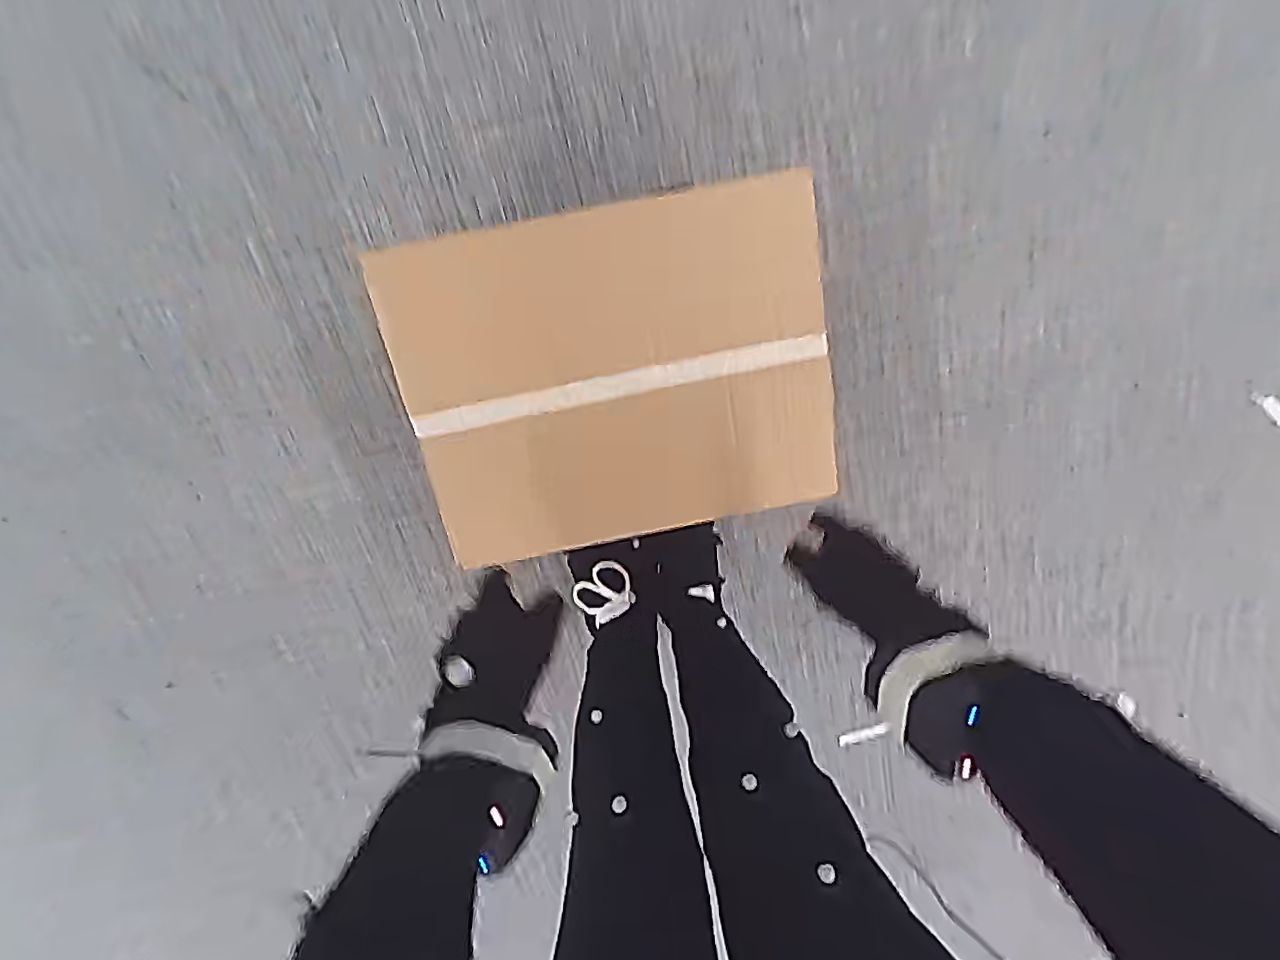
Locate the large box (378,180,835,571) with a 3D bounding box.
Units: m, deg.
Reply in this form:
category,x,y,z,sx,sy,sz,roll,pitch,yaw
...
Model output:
category,x,y,z,sx,sy,sz,roll,pitch,yaw
large box,-0.027,-0.128,0.671,0.408,0.320,0.320,-12,108,-1
